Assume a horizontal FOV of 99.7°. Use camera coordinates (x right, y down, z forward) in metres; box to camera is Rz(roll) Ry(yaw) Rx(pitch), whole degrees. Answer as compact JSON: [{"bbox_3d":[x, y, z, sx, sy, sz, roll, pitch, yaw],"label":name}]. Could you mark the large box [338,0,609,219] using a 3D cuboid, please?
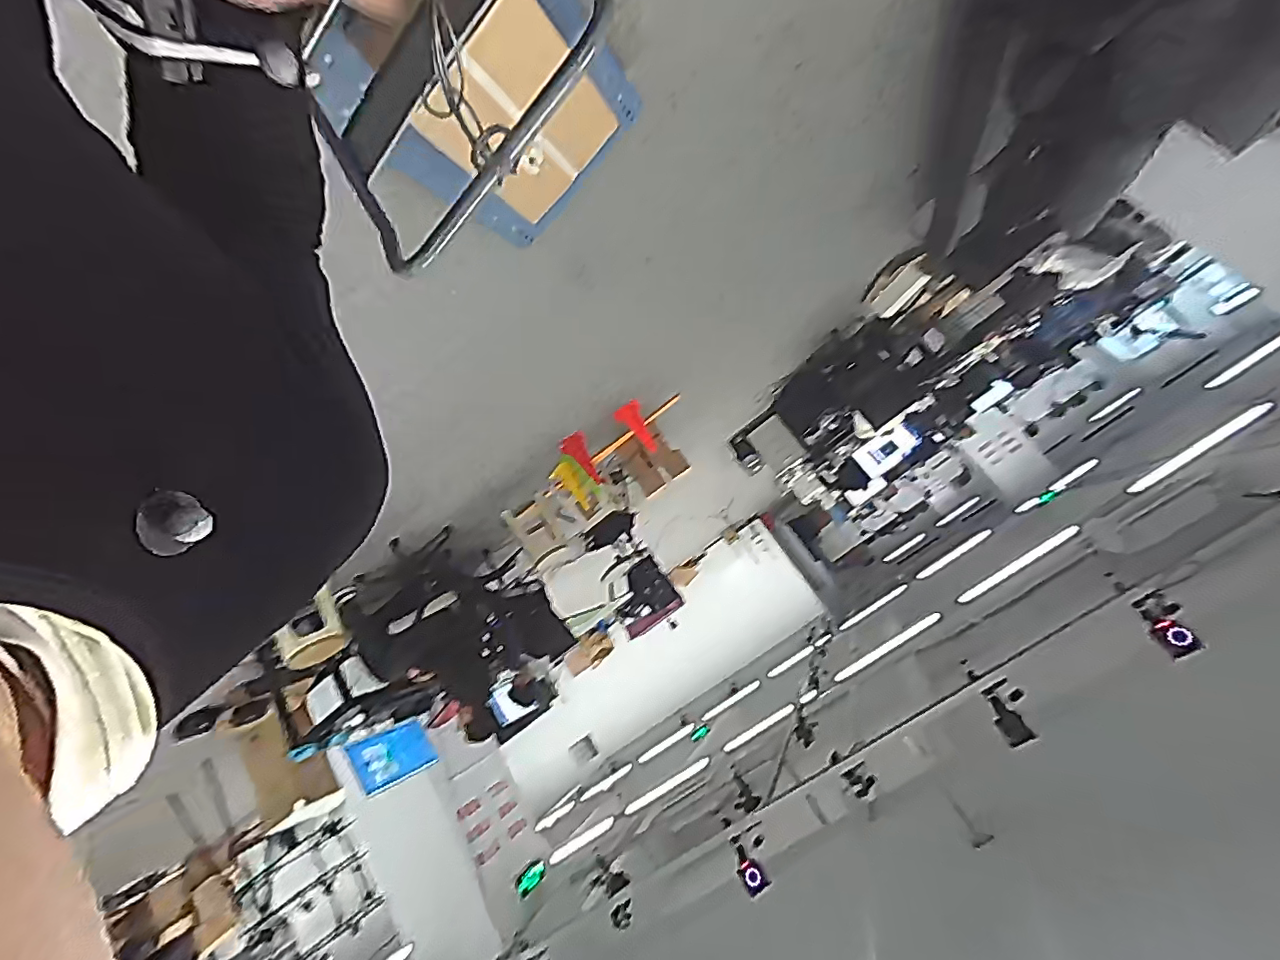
[{"bbox_3d":[-0.347,-0.876,1.186,0.320,0.320,0.408,-41,164,17],"label":"large box"}]
